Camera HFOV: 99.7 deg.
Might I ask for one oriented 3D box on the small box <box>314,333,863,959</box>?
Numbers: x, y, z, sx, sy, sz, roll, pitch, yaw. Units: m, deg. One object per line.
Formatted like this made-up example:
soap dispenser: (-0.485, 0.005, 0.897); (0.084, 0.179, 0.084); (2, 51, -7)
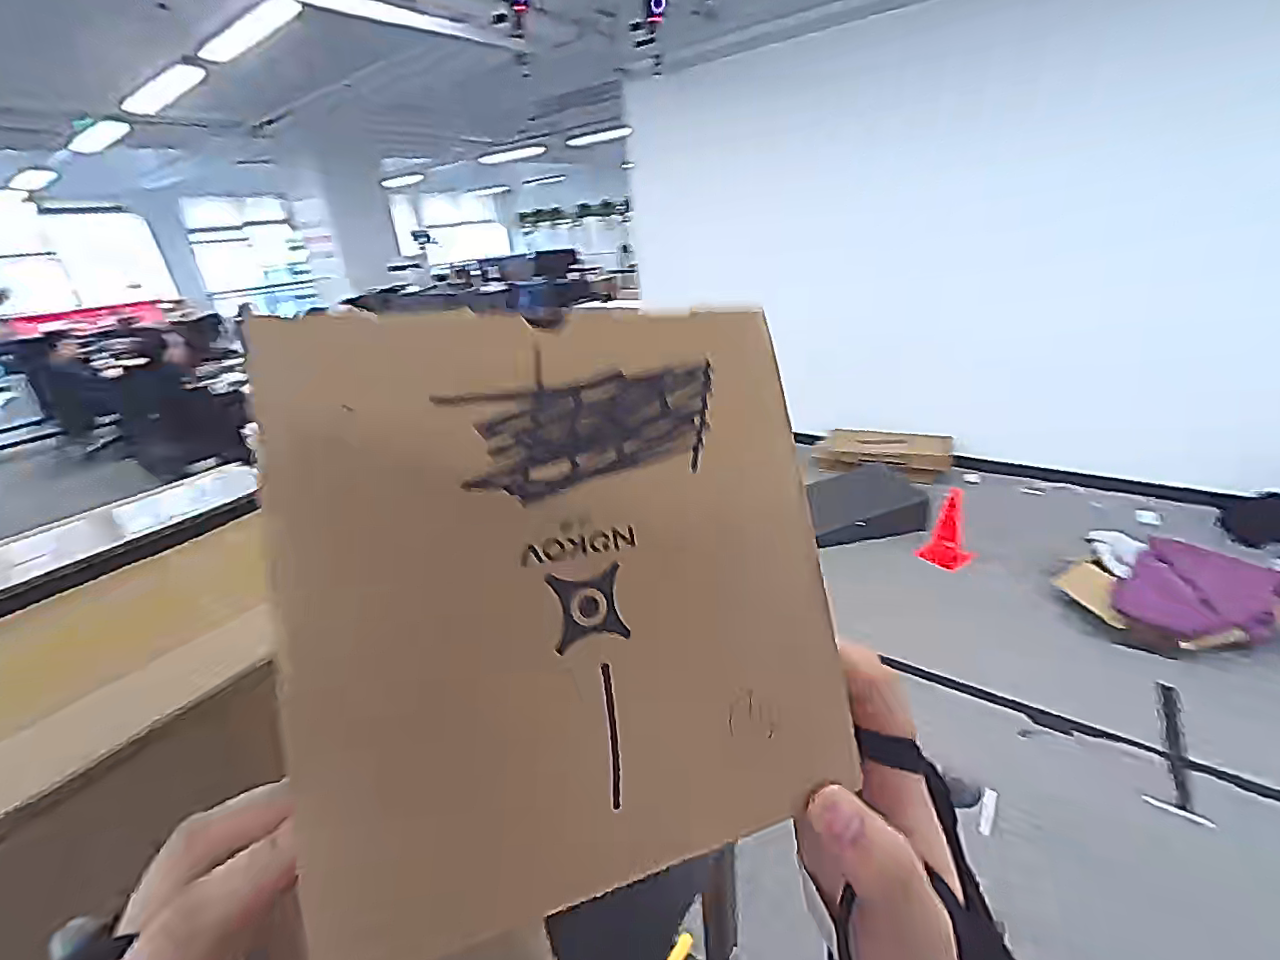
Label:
small box: (-0.035, 0.049, 0.252); (0.168, 0.179, 0.176); (-7, -8, -19)
